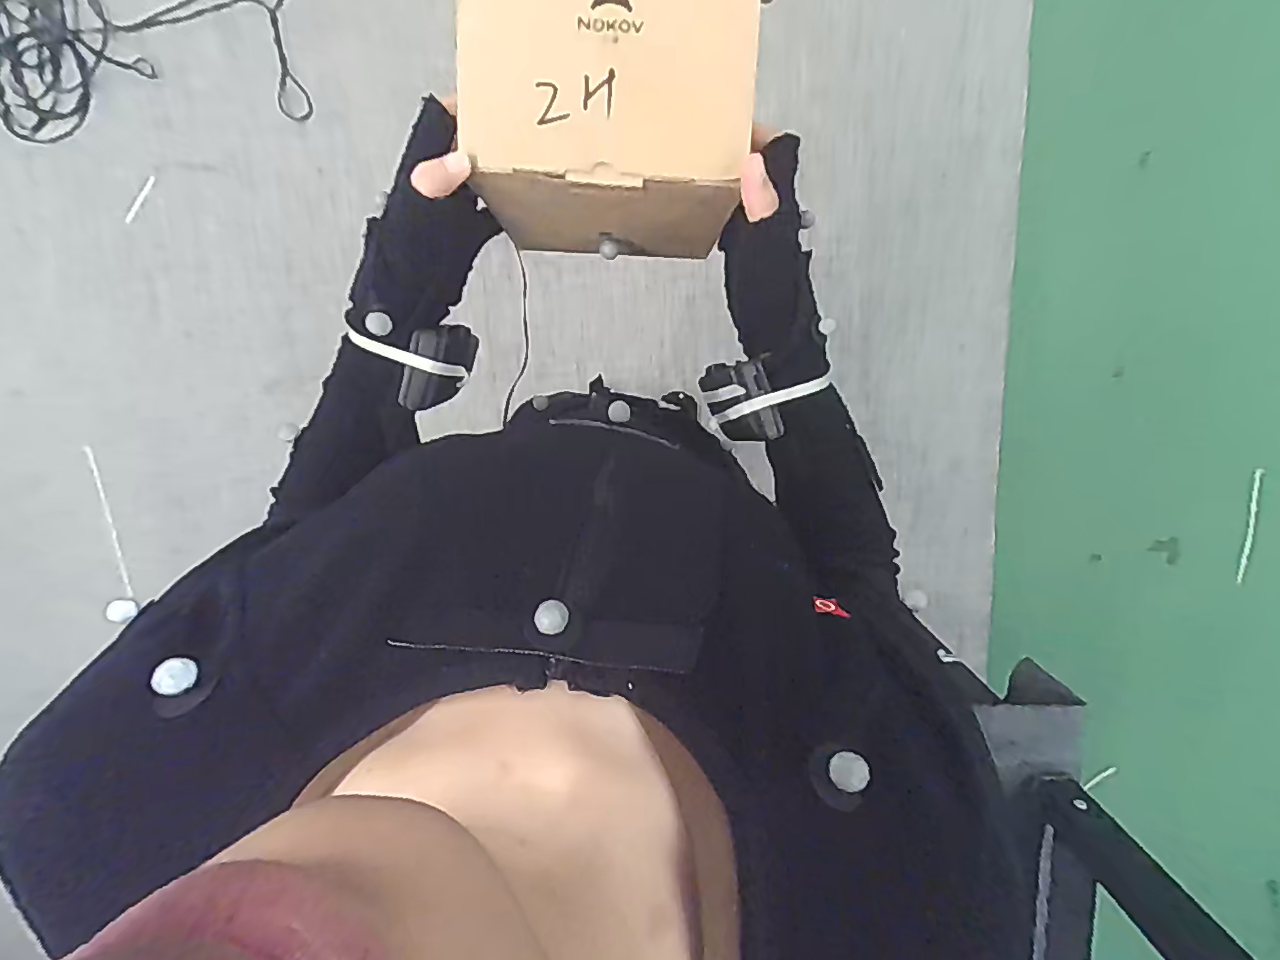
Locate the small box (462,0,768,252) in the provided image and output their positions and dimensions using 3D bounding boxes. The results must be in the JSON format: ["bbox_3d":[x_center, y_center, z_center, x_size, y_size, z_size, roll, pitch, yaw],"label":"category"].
[{"bbox_3d":[-0.014,-0.275,0.369,0.168,0.176,0.179,2,97,-1],"label":"small box"}]
